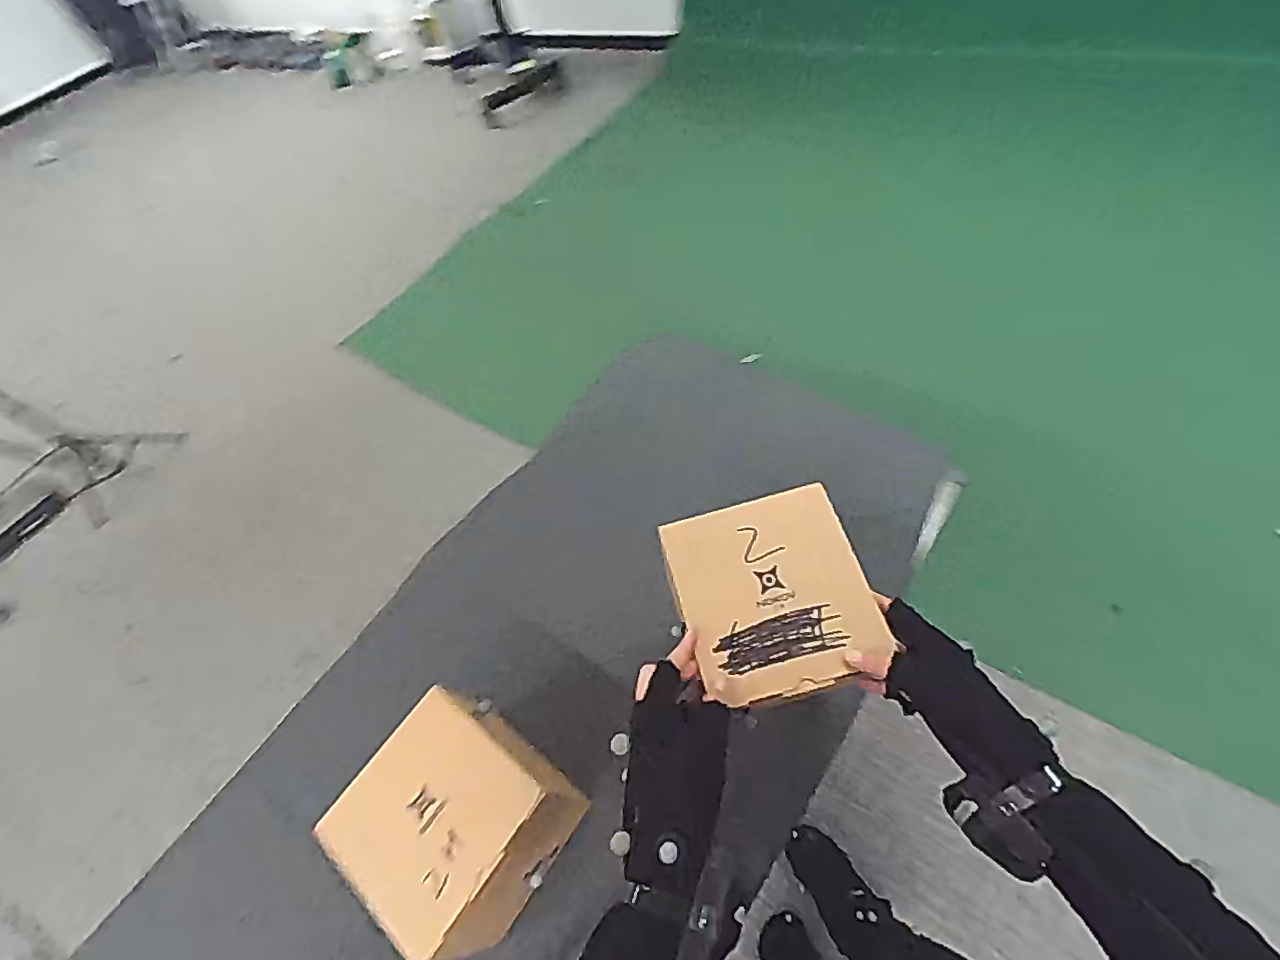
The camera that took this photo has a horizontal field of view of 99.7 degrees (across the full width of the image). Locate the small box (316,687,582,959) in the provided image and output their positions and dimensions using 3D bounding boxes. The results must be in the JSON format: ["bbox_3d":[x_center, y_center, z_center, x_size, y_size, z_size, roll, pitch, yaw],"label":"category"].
[{"bbox_3d":[-0.192,0.362,0.587,0.179,0.176,0.168,27,67,27],"label":"small box"}]
